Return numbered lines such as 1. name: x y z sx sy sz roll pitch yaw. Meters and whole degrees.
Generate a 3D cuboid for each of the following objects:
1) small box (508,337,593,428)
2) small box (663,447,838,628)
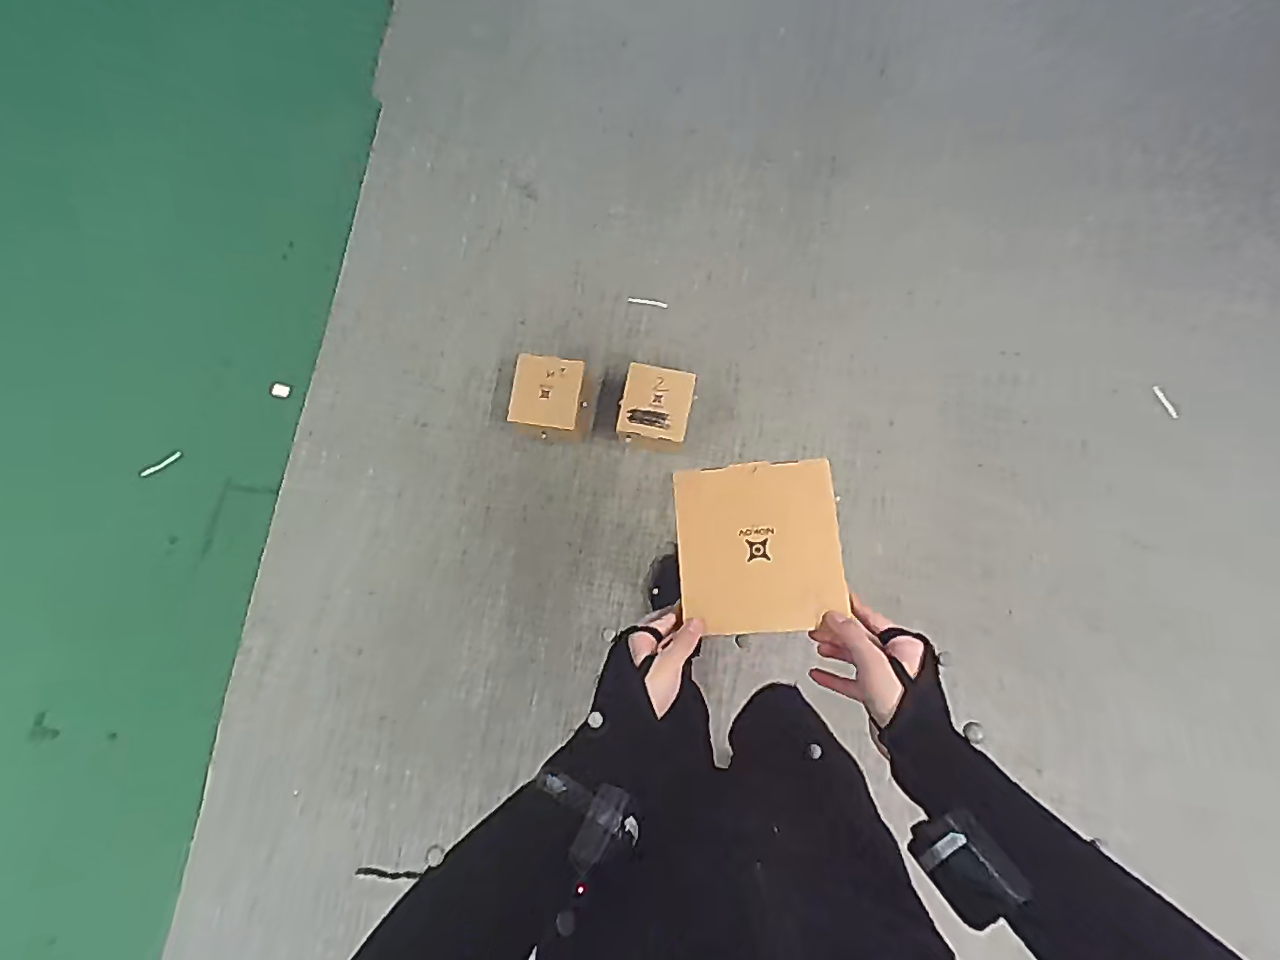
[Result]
1. small box: -0.219 -0.238 1.368 0.168 0.176 0.179 11 84 2
2. small box: 0.116 0.072 0.612 0.168 0.176 0.179 -3 76 7
